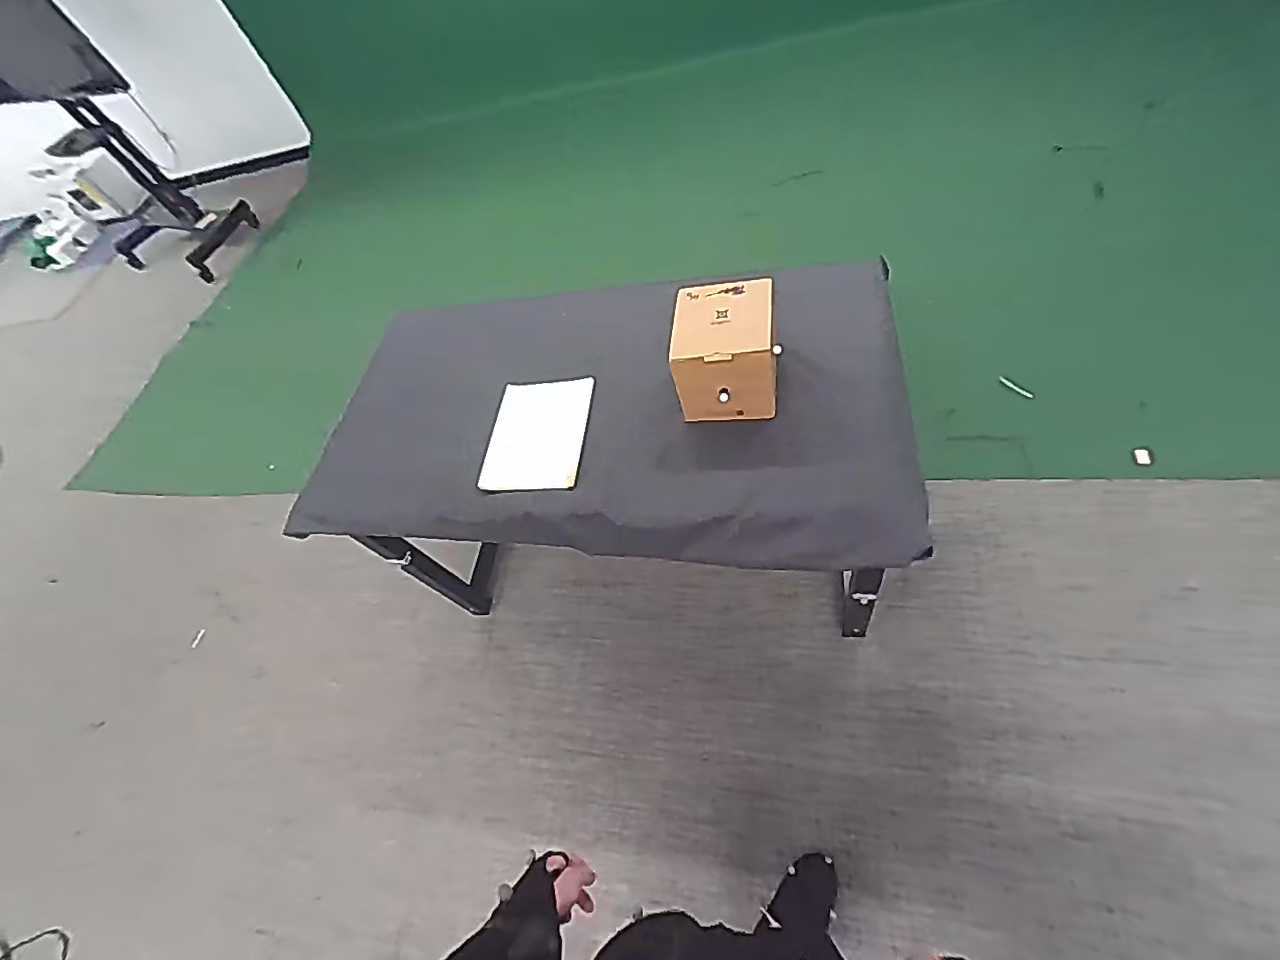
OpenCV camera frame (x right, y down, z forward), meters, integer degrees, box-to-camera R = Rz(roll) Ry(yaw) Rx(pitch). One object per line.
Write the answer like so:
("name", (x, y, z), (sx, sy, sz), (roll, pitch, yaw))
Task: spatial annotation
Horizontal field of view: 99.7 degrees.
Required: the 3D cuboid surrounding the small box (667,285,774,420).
("small box", (0.153, -0.219, 0.972), (0.168, 0.176, 0.179), (-1, 59, 16))
